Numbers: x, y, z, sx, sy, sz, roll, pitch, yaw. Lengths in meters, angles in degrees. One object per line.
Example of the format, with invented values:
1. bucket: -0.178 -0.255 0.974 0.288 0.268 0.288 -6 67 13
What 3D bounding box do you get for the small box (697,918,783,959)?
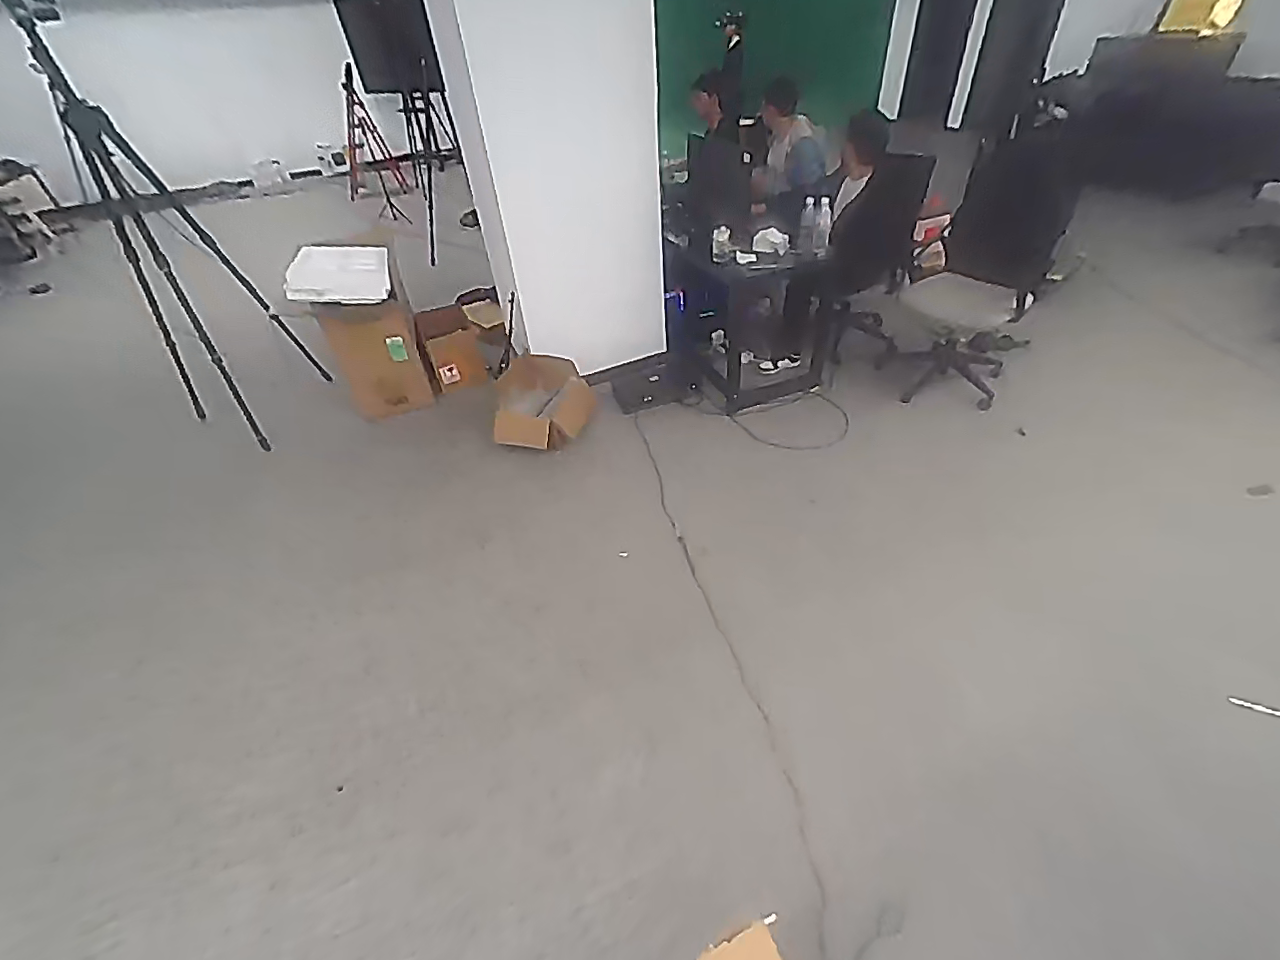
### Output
1. small box: 0.229 1.077 1.134 0.168 0.176 0.179 -19 43 -13
